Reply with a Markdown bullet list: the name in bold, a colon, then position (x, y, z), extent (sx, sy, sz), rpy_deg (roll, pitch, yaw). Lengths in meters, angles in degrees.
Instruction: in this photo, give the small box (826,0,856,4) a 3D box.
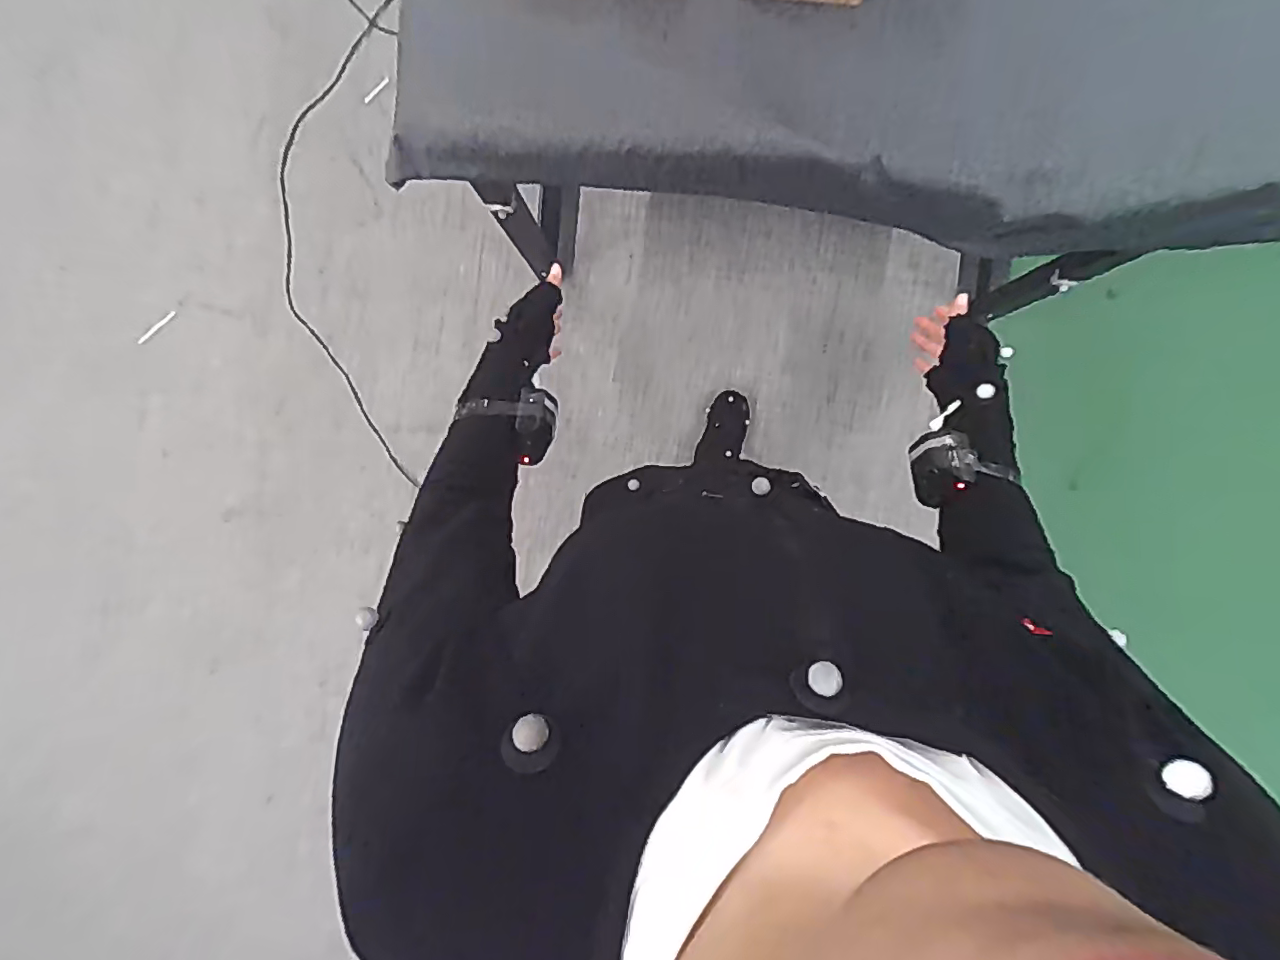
- **small box**: position (0.209, -0.696, 0.612), extent (0.168, 0.176, 0.179), rpy_deg (7, 93, 2)
